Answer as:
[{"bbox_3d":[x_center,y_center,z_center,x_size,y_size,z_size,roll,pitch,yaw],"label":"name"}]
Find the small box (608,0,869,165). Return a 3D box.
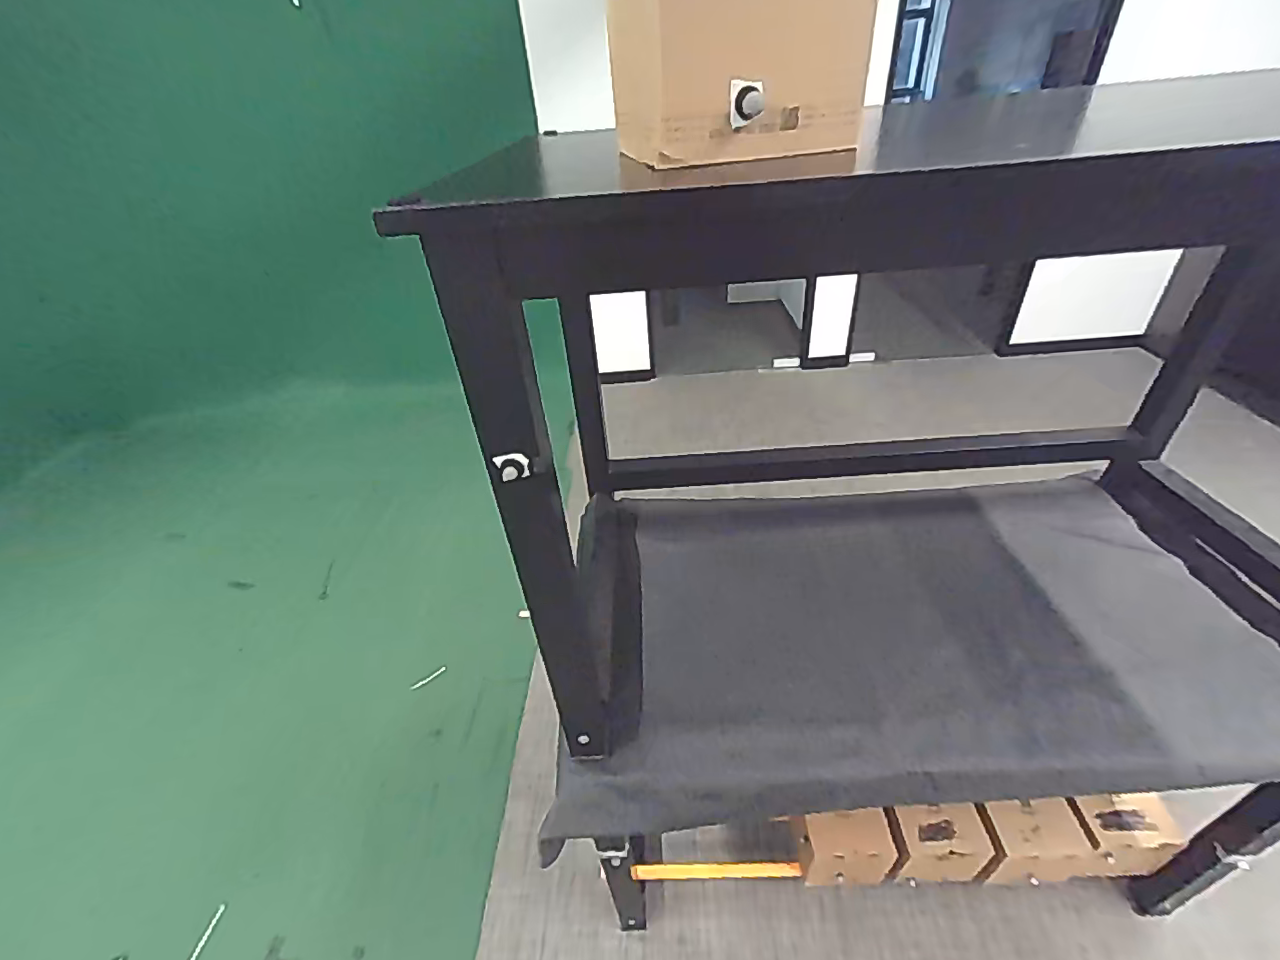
[{"bbox_3d":[0.067,-0.364,0.440,0.168,0.176,0.179,-11,37,-6],"label":"small box"}]
